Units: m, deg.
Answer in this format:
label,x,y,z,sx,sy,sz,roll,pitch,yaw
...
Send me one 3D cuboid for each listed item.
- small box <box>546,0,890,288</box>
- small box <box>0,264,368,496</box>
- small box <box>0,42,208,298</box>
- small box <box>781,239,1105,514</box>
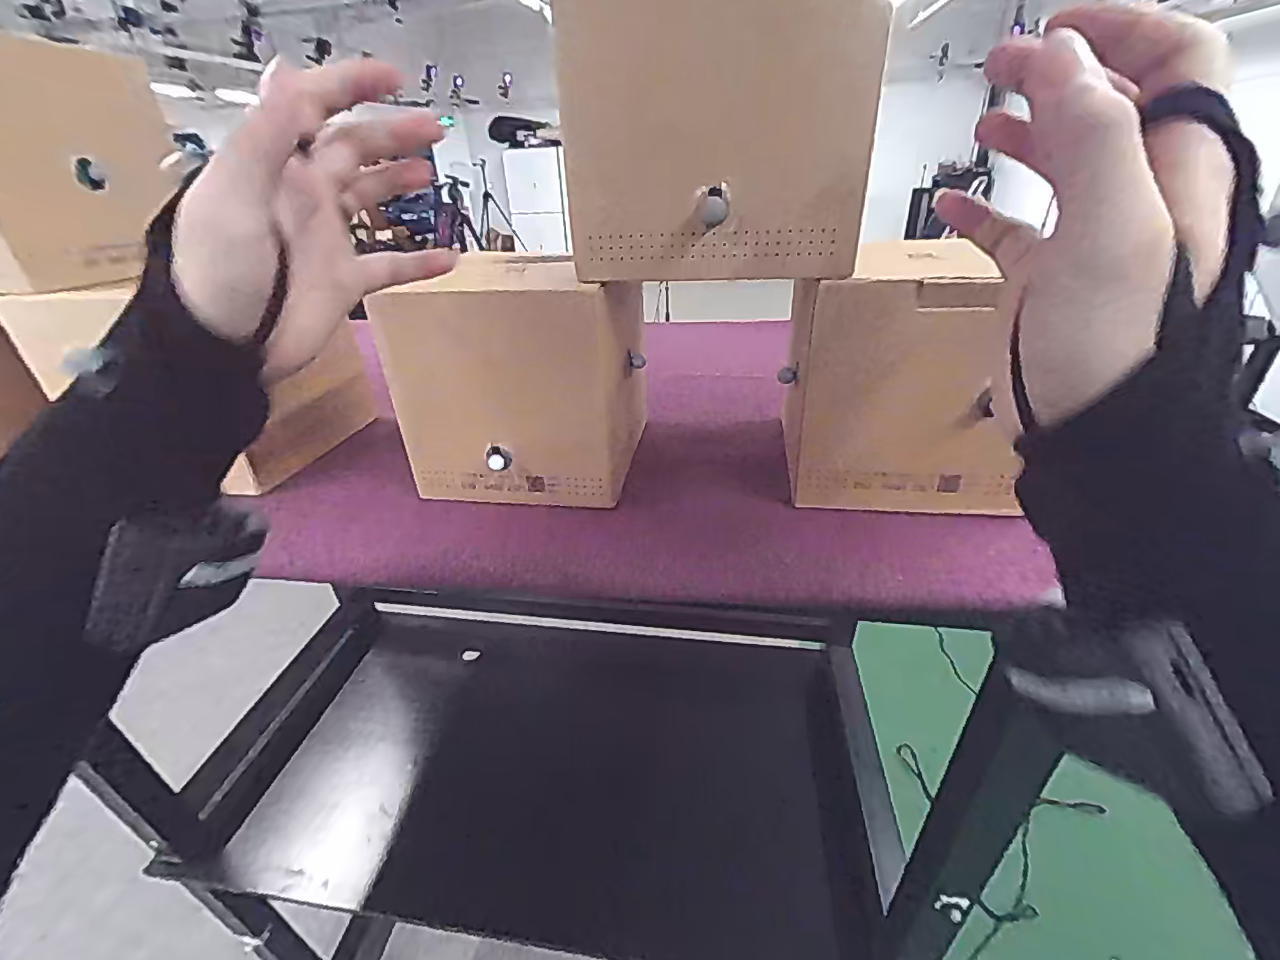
label,x,y,z,sx,sy,sz,roll,pitch,yaw
small box,0.048,-0.232,0.367,0.179,0.176,0.168,1,29,7
small box,-0.389,-0.096,0.503,0.168,0.176,0.179,2,29,10
small box,-0.523,-0.251,0.451,0.179,0.176,0.168,4,30,10
small box,0.204,-0.087,0.428,0.168,0.176,0.179,3,30,10
